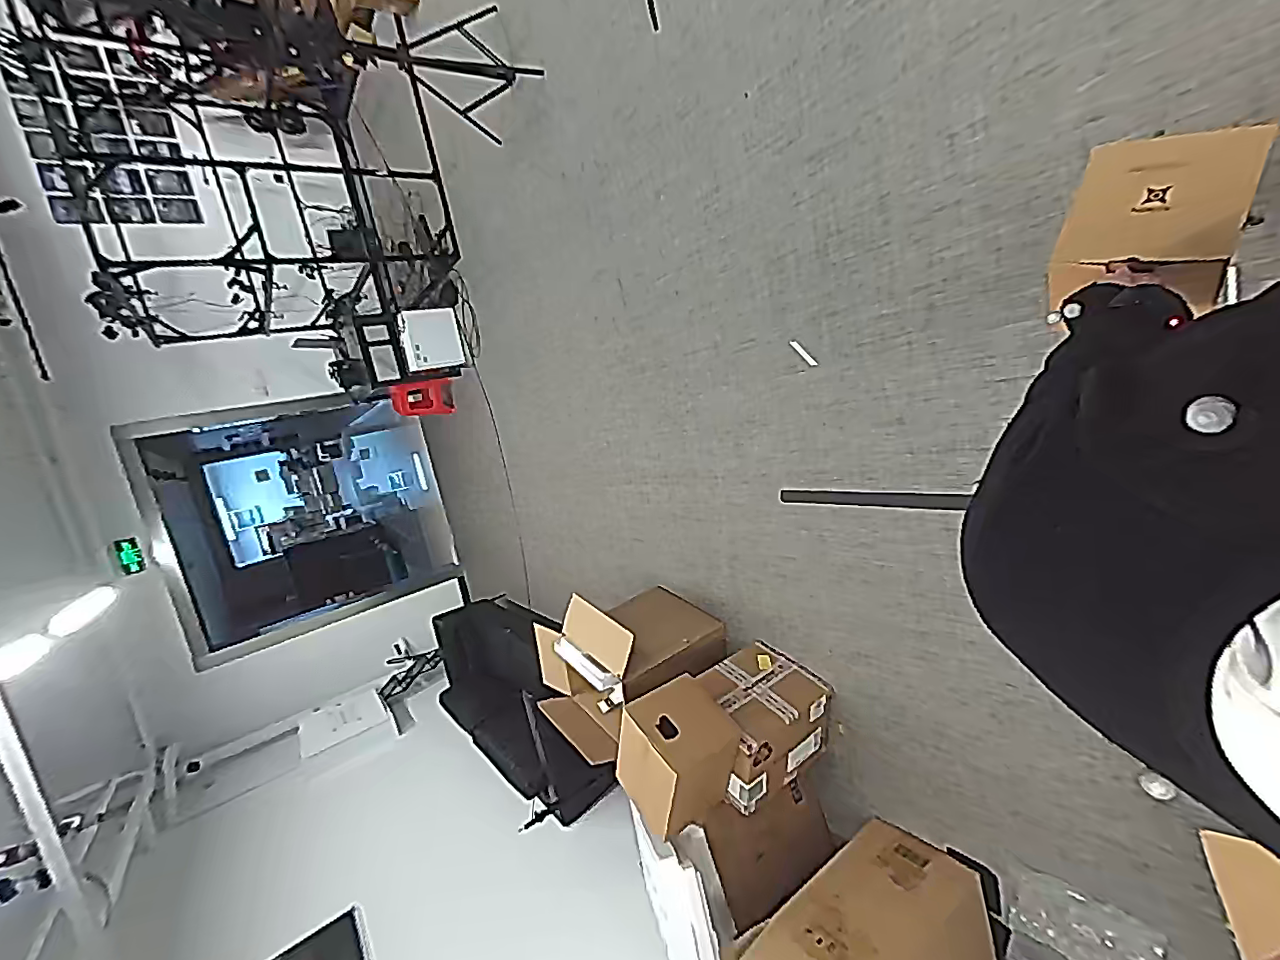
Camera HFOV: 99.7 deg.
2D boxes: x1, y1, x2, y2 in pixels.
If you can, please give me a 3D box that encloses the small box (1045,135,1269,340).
[{"bbox_3d":[0.665,-0.305,0.715,0.168,0.176,0.179,20,83,41],"label":"small box"}]
